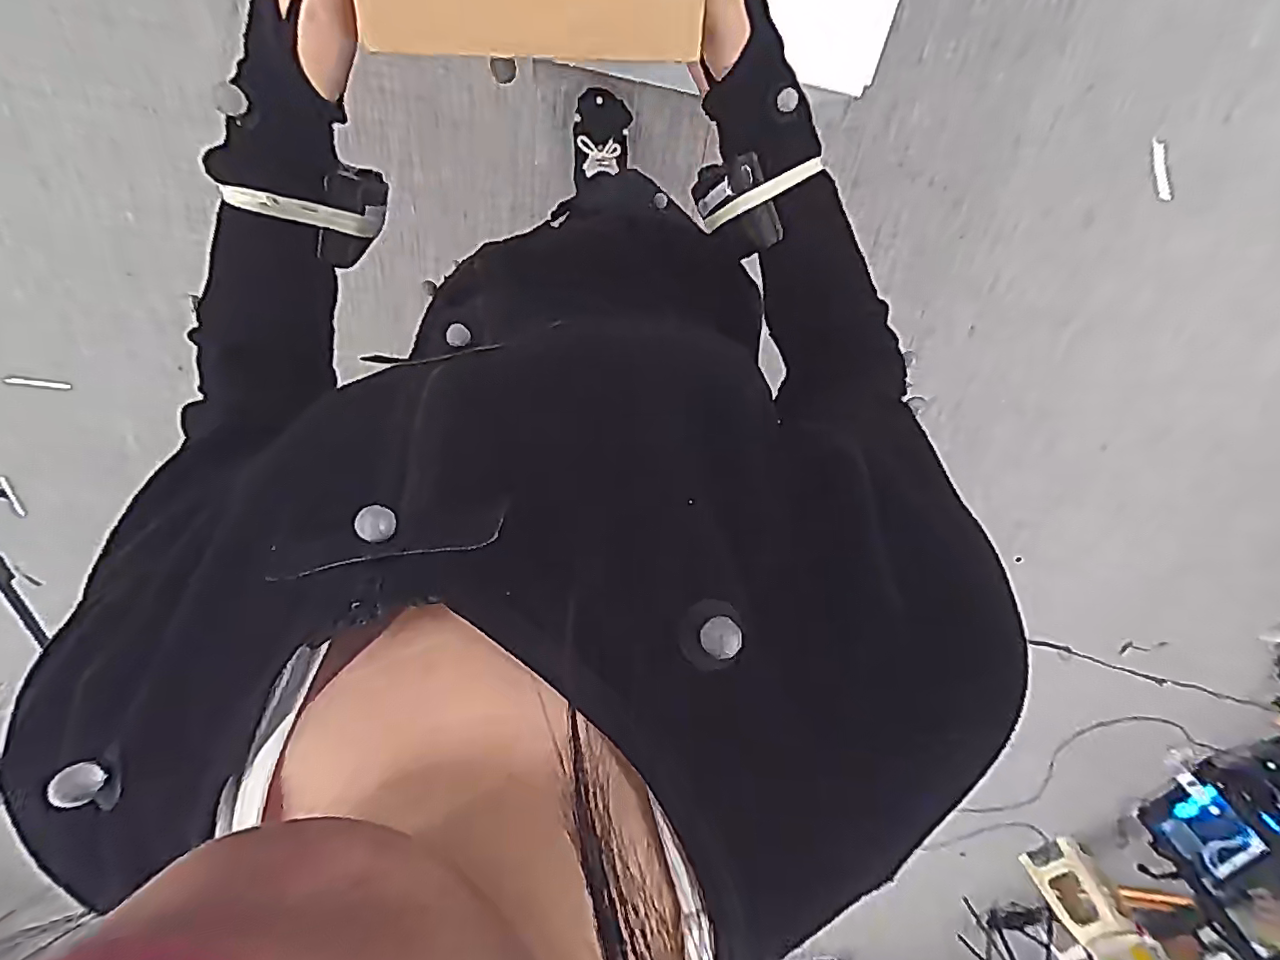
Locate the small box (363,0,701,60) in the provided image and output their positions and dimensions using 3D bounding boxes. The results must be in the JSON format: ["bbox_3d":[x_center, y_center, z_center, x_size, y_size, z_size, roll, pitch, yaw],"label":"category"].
[{"bbox_3d":[-0.057,-0.333,0.278,0.168,0.176,0.179,-4,130,-6],"label":"small box"}]
